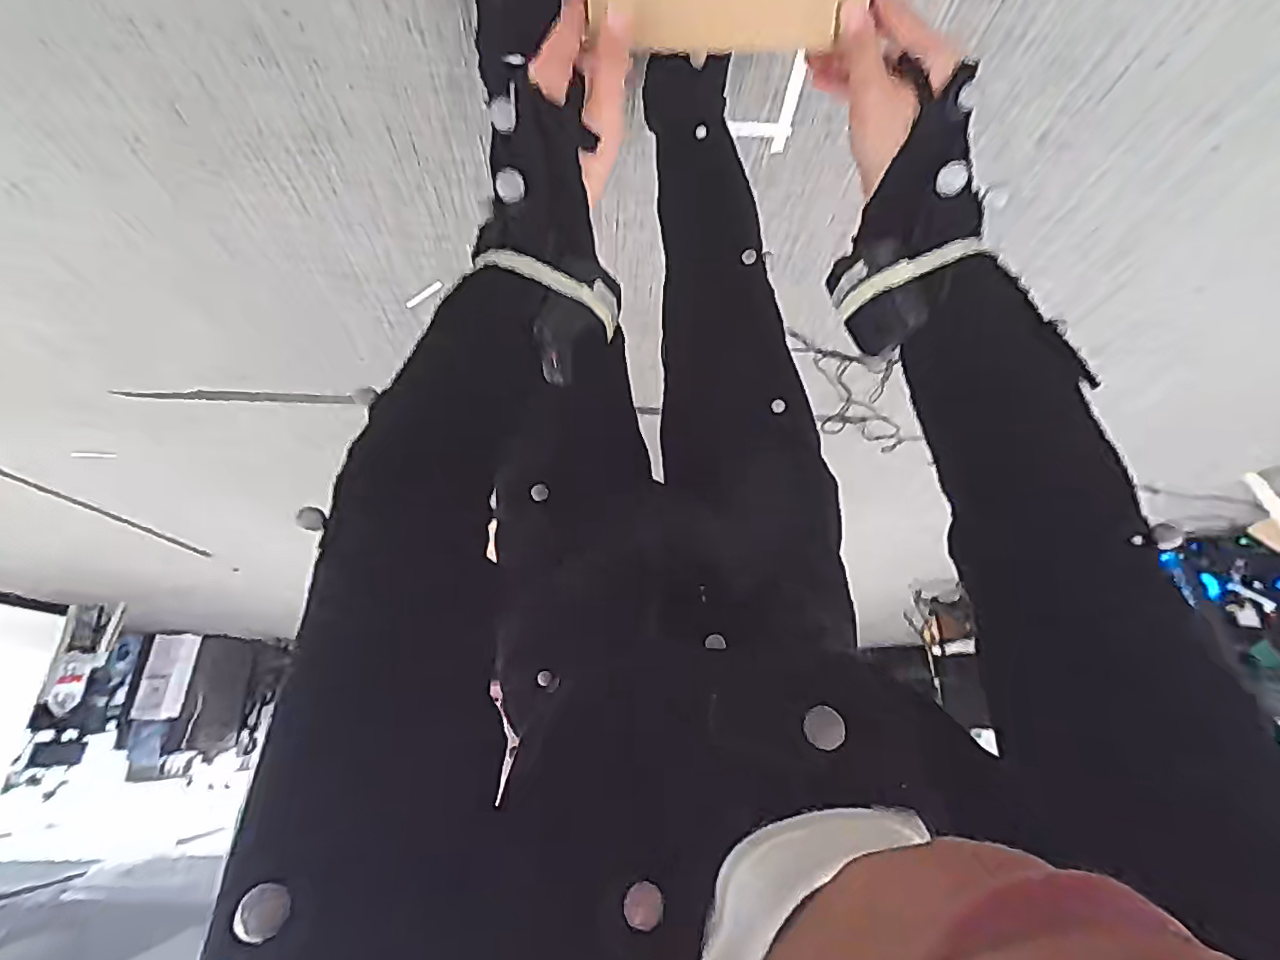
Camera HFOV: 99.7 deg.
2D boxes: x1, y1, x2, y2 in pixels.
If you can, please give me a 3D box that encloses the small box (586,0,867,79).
[{"bbox_3d":[0.049,-0.369,0.334,0.168,0.176,0.179,-1,133,-3],"label":"small box"}]
